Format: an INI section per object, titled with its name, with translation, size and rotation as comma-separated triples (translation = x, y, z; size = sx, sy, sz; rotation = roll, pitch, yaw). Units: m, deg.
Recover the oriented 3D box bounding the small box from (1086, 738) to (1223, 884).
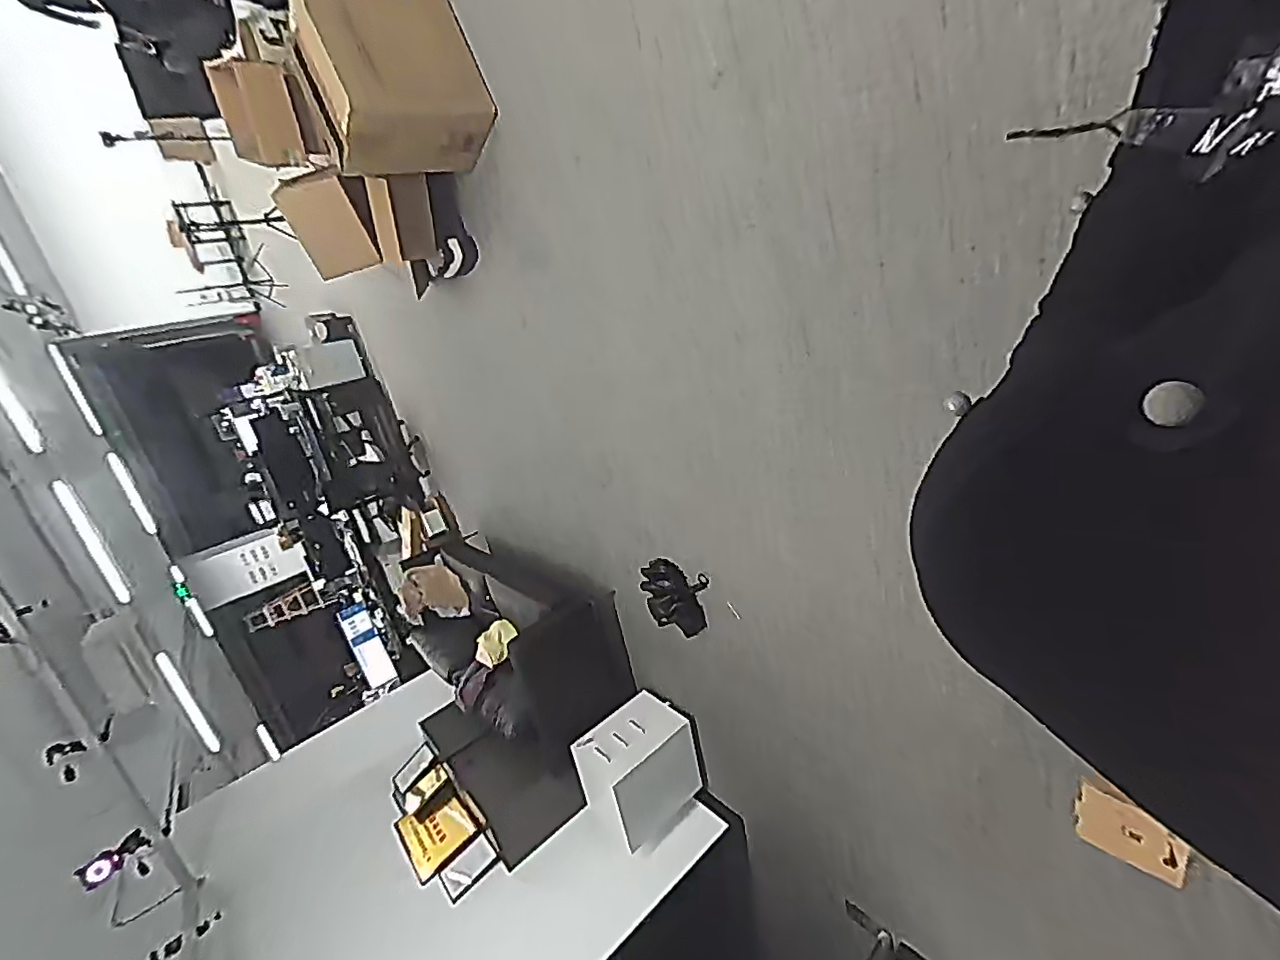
[small box]
translation = 1.101, 0.694, 1.160
size = 0.179, 0.176, 0.168
rotation = 14, 122, 49
